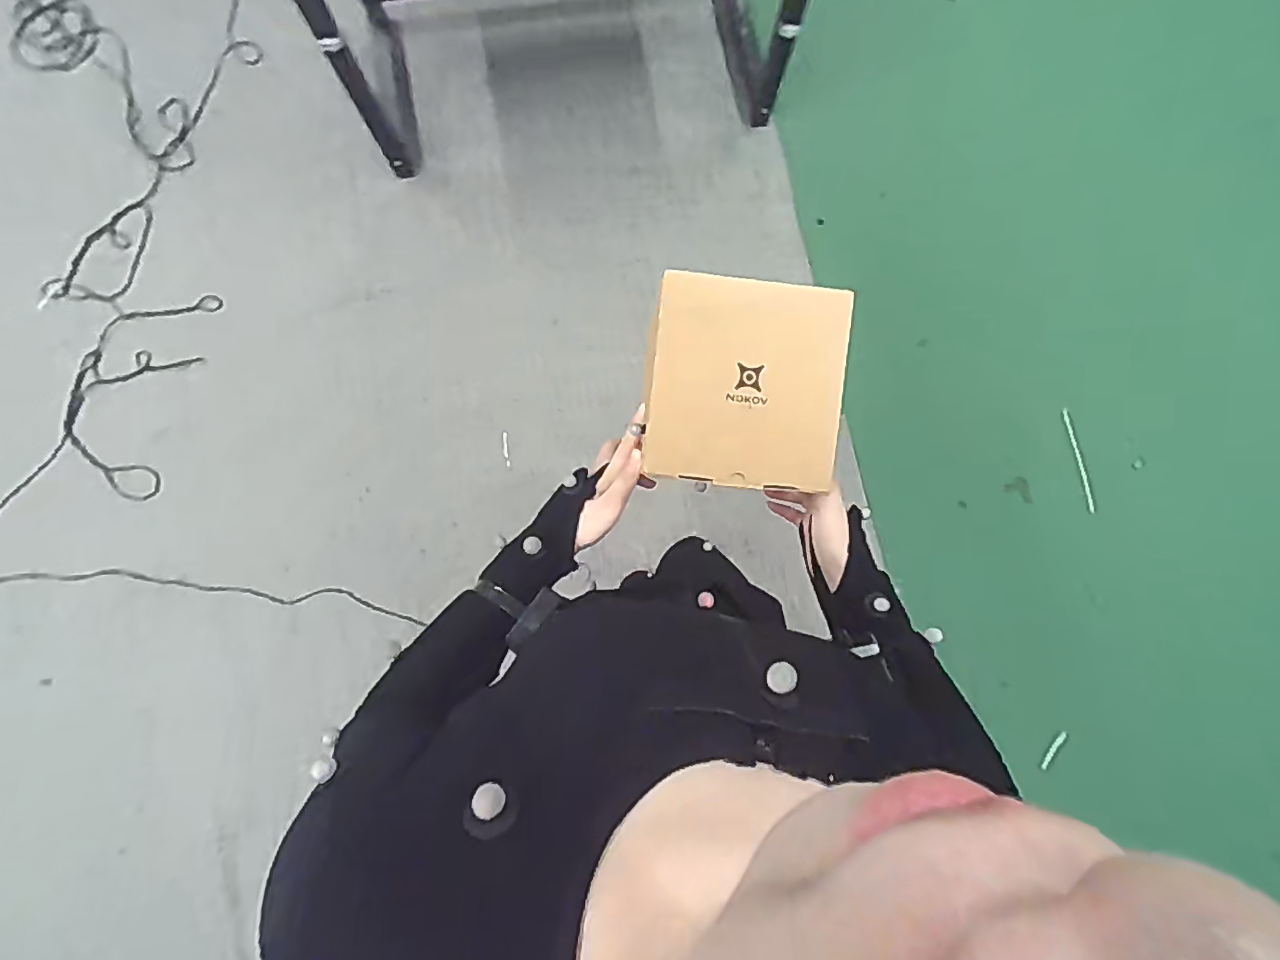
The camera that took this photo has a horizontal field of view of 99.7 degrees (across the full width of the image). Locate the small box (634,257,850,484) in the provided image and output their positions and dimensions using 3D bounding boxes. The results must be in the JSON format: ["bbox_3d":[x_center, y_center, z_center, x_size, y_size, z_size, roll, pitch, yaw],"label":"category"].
[{"bbox_3d":[0.084,-0.092,0.529,0.168,0.176,0.179,5,92,-3],"label":"small box"}]
